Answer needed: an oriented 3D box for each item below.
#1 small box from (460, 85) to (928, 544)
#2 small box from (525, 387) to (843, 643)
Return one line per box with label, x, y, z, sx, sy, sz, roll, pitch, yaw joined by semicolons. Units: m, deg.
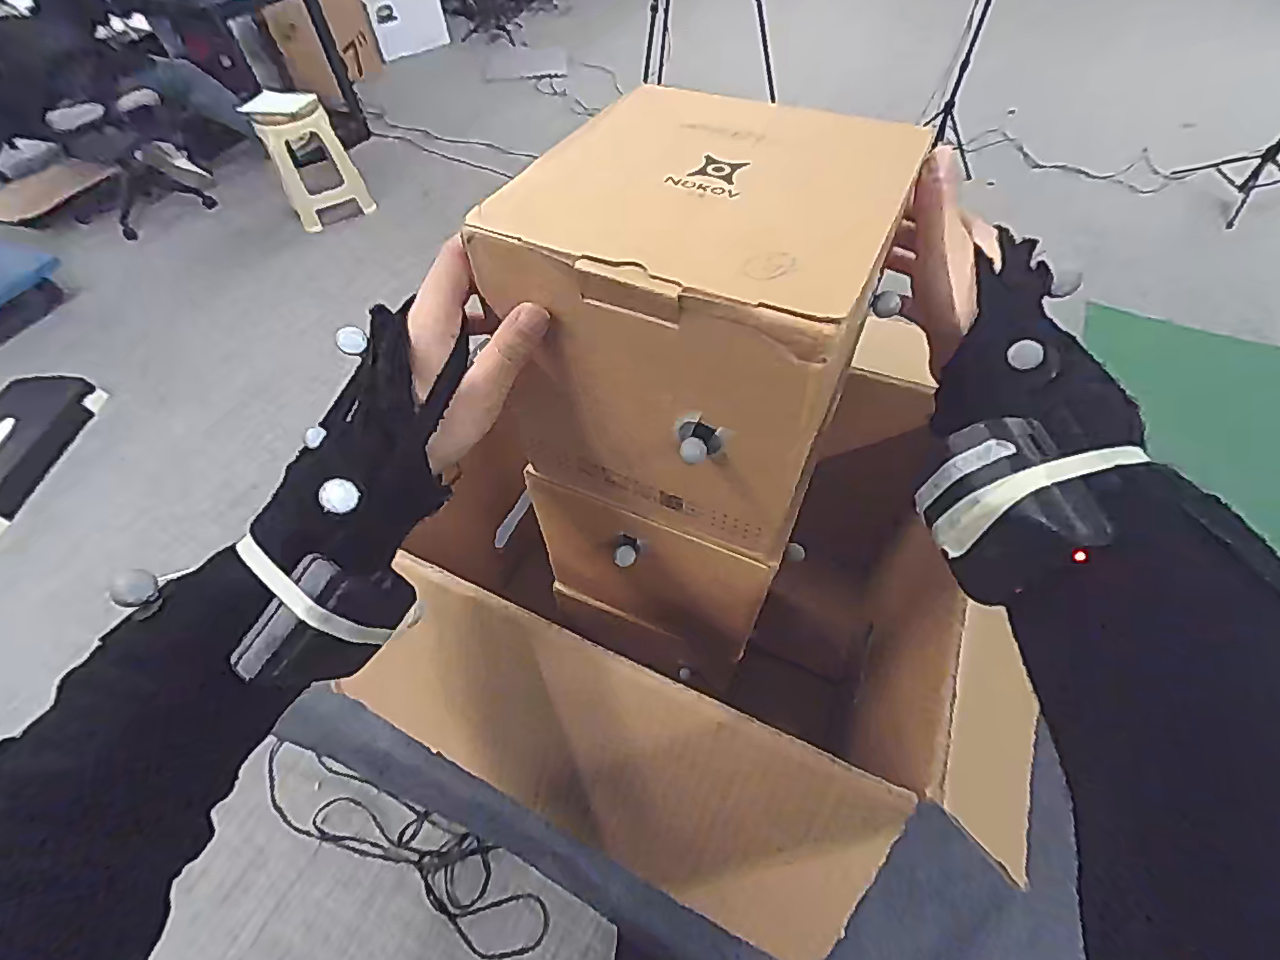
small box;0.035;-0.092;0.312;0.168;0.176;0.179;22;56;17
small box;0.038;0.010;0.438;0.179;0.176;0.168;20;57;16
